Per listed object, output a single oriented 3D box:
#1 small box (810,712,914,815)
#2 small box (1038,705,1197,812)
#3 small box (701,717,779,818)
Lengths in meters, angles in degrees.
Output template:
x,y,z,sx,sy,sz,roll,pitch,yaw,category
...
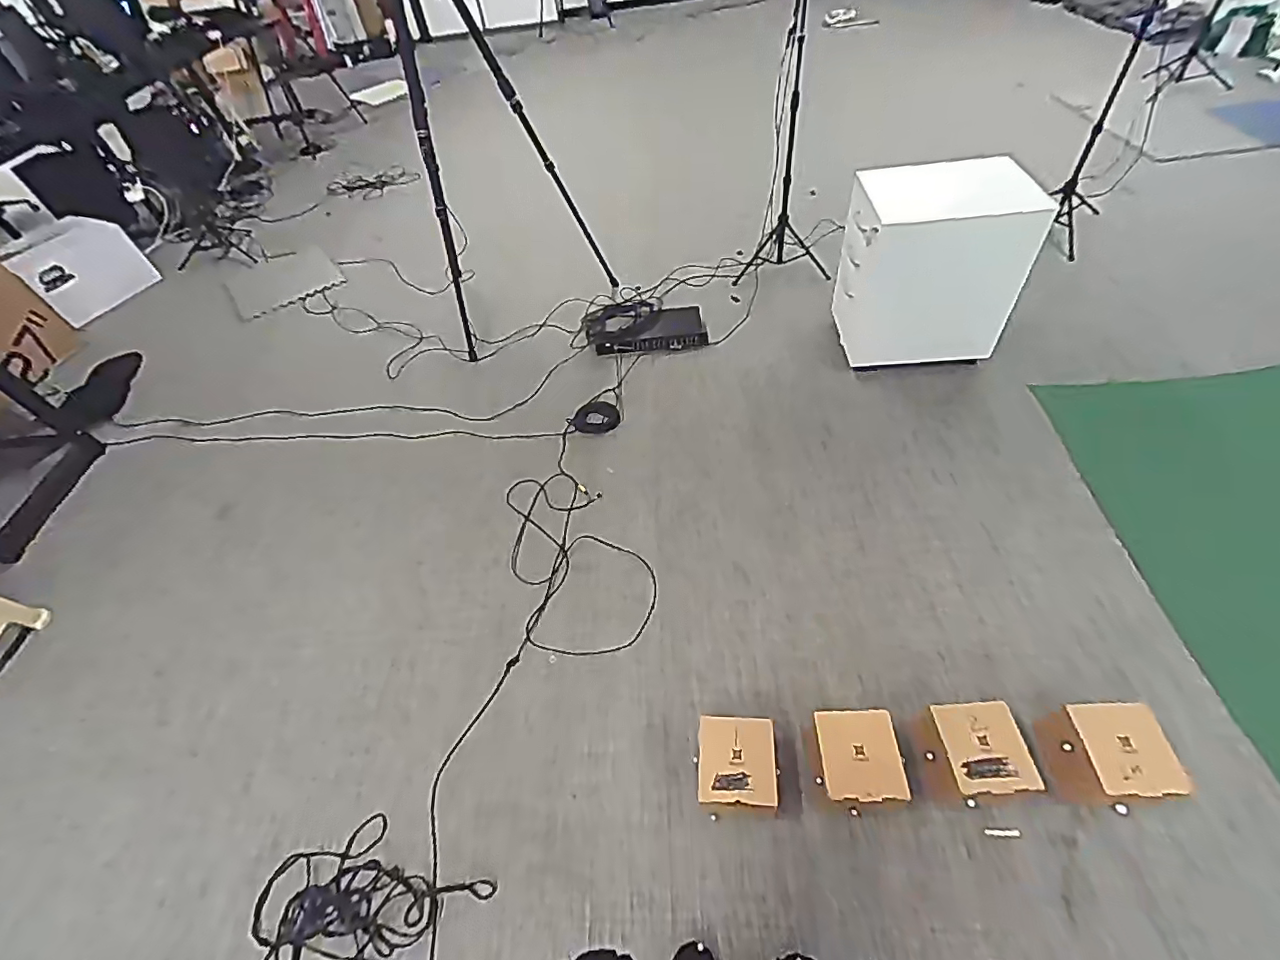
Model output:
x,y,z,sx,sy,sz,roll,pitch,yaw,category
0.490,0.643,1.224,0.168,0.176,0.179,-4,50,6,small box
1.016,0.606,1.174,0.168,0.176,0.179,-4,51,6,small box
0.230,0.665,1.245,0.168,0.176,0.179,0,50,9,small box
